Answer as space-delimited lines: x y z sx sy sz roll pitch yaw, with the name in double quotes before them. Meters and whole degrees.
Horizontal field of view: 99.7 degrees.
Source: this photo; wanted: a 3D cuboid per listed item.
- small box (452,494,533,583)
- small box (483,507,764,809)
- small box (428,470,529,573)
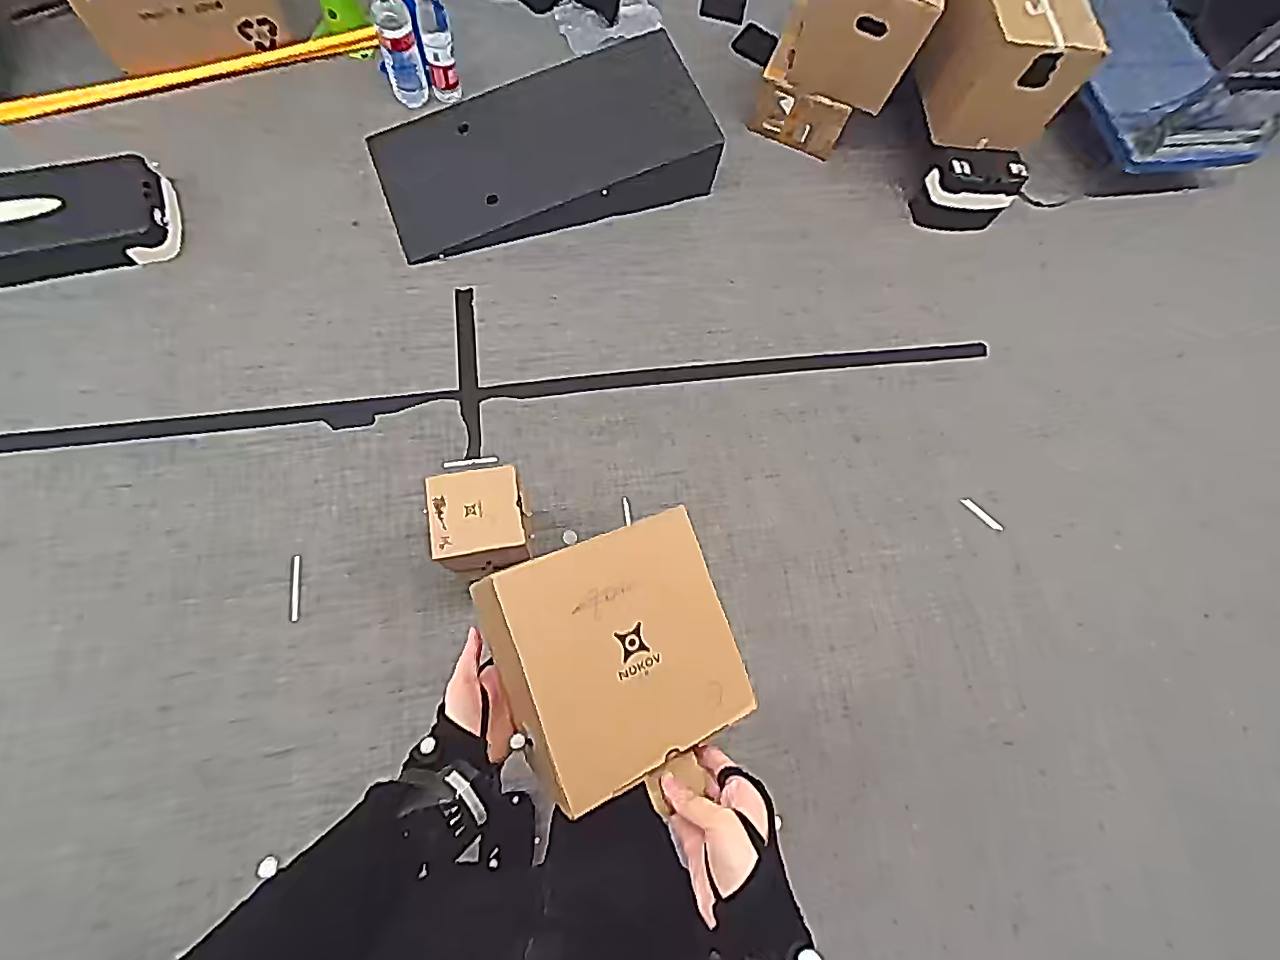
"small box" -0.340 0.143 1.267 0.168 0.176 0.179 -3 72 -9
"small box" -0.028 0.139 0.476 0.168 0.176 0.179 -17 84 -26
"small box" -0.324 0.089 1.112 0.179 0.176 0.168 -8 73 -11
